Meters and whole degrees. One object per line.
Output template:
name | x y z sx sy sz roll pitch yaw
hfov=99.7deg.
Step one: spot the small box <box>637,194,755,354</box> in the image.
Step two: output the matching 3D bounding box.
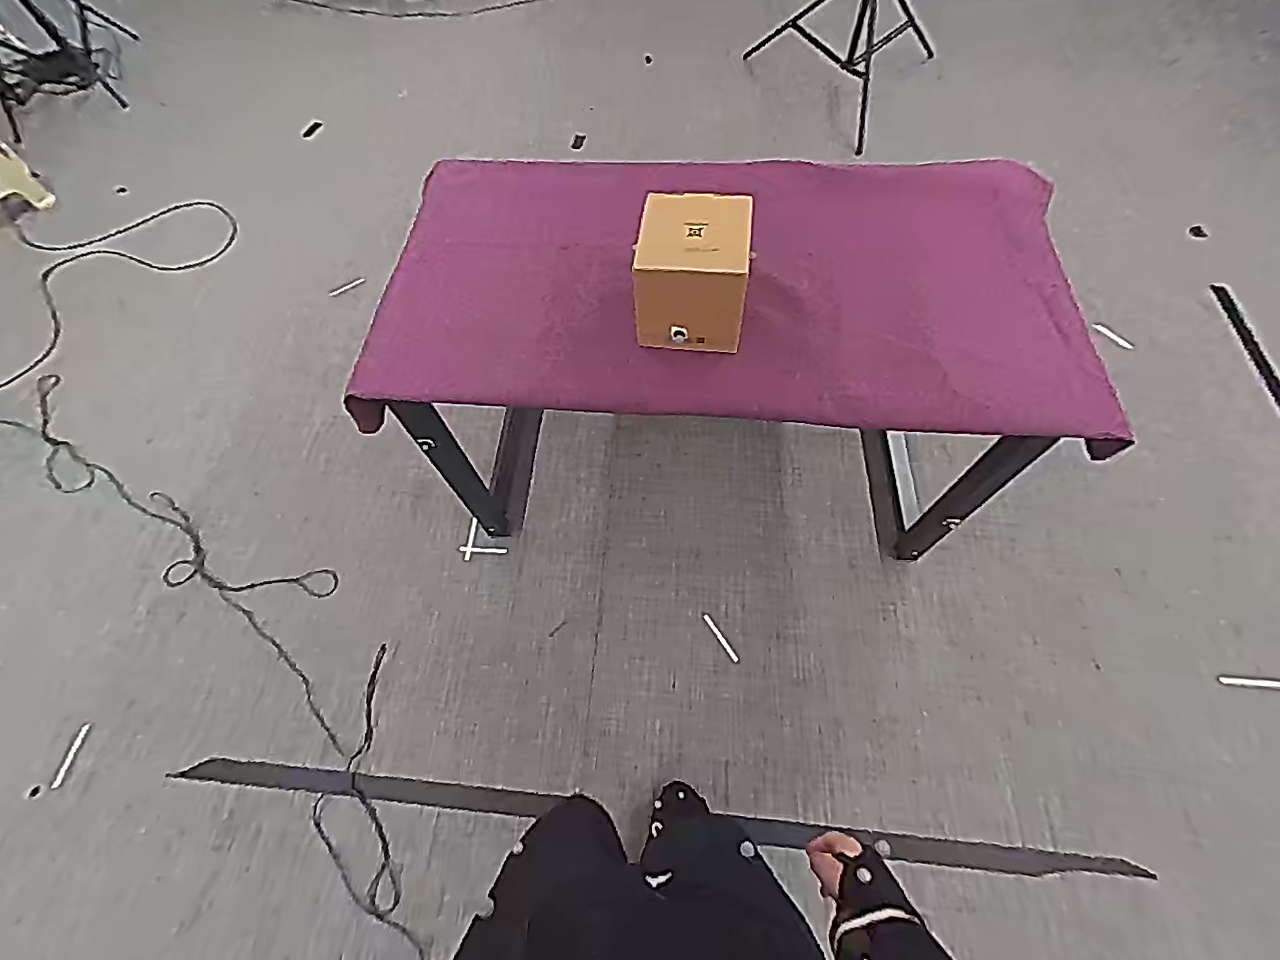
small box | 0.090 -0.330 0.874 0.168 0.176 0.179 5 62 6
